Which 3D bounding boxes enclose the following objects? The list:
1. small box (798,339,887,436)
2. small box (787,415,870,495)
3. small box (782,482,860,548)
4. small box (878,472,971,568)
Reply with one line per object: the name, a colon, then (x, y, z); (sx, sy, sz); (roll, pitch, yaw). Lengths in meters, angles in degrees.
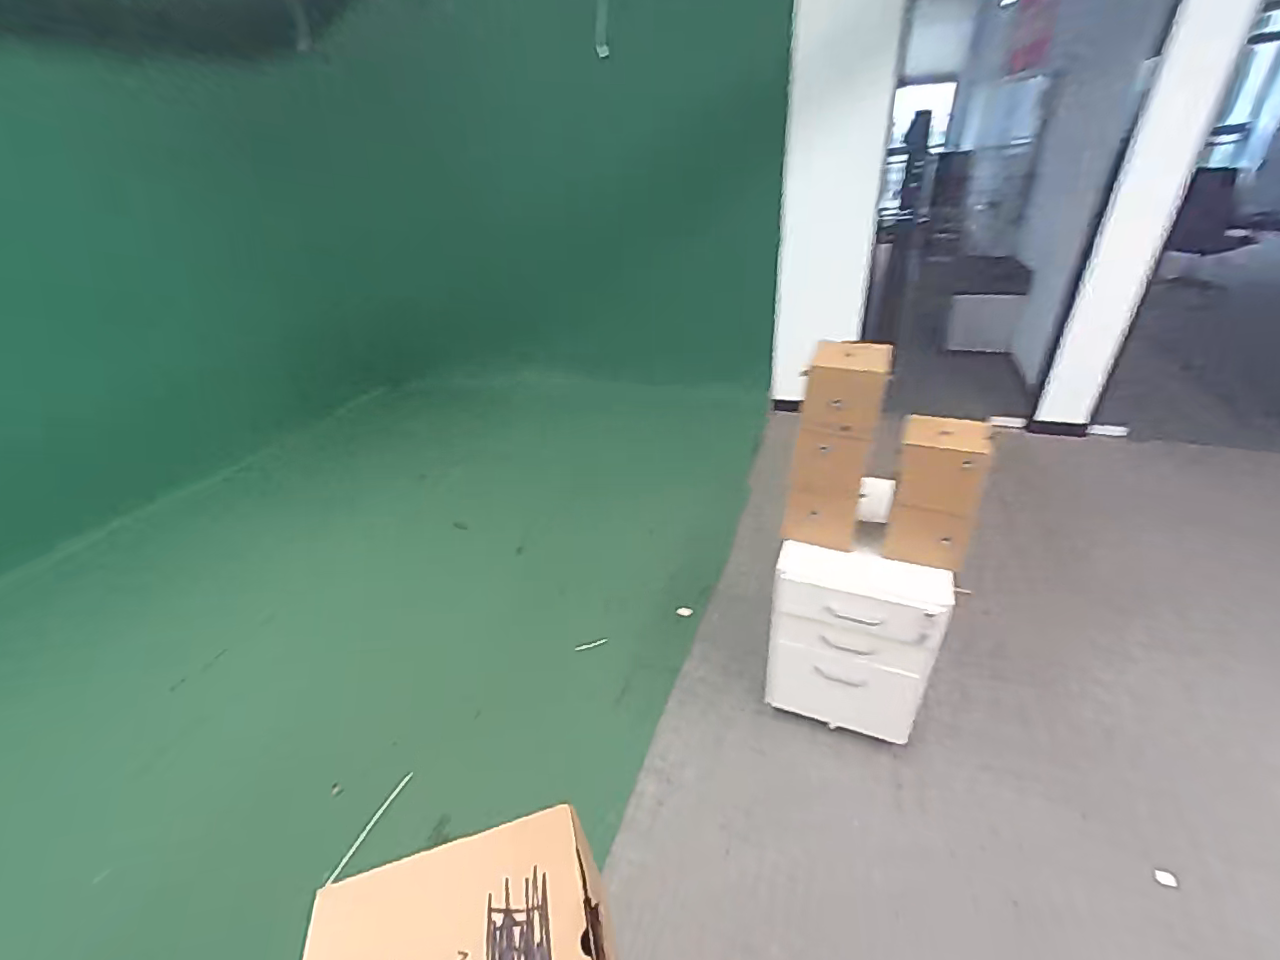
small box: (0.474, -0.219, 1.275); (0.168, 0.176, 0.179); (12, 36, 20)
small box: (0.476, -0.080, 1.362); (0.179, 0.176, 0.168); (12, 36, 20)
small box: (0.484, 0.061, 1.447); (0.179, 0.176, 0.168); (11, 36, 21)
small box: (0.711, 0.100, 1.361); (0.179, 0.176, 0.168); (8, 33, 22)
